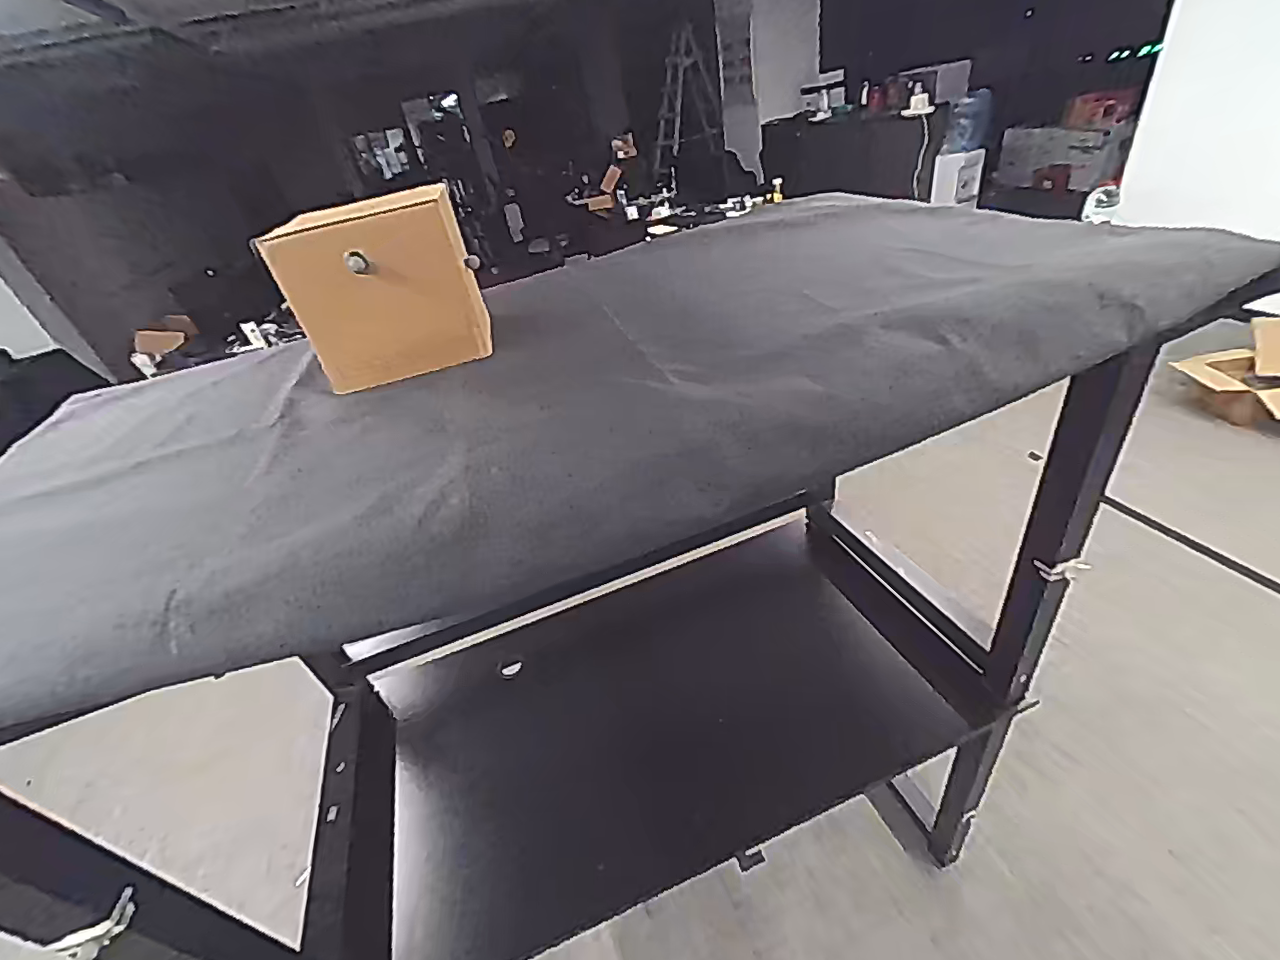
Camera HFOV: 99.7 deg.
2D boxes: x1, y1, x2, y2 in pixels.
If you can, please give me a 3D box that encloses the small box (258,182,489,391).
[{"bbox_3d":[-0.281,-0.225,0.624,0.179,0.176,0.168,-17,36,-6],"label":"small box"}]
